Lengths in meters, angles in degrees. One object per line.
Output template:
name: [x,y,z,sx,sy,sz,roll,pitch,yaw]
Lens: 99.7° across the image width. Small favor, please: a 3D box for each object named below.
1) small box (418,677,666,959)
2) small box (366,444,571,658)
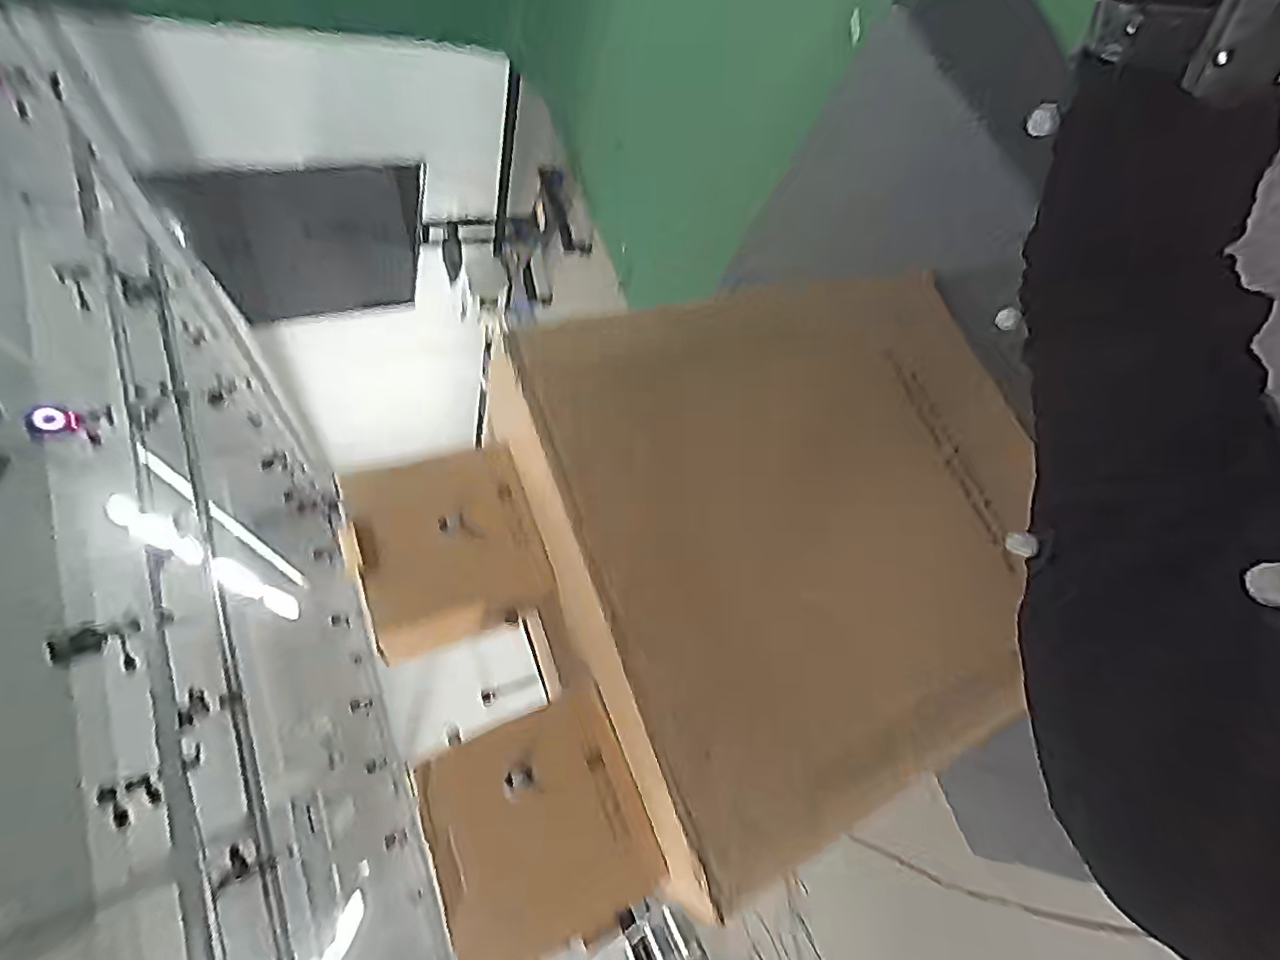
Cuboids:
small box: [-0.094,0.307,0.507,0.168,0.176,0.179,63,152,24]
small box: [-0.189,0.078,0.608,0.168,0.176,0.179,66,153,19]
